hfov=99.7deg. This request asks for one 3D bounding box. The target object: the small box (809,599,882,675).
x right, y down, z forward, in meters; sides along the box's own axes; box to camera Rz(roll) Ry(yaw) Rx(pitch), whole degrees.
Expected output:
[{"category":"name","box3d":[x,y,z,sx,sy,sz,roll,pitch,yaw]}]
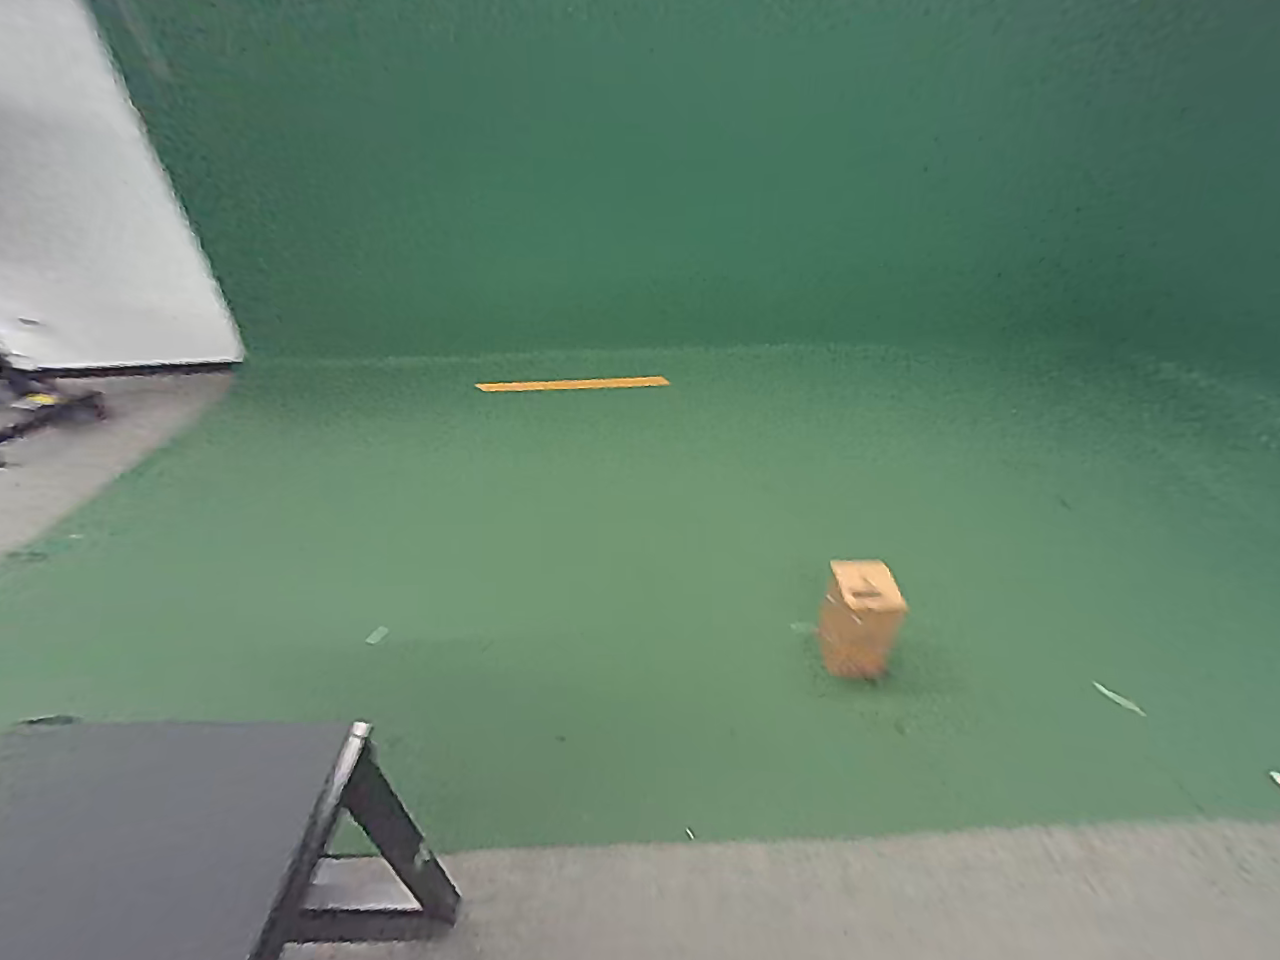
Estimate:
[{"category":"small box","box3d":[0.661,0.511,1.765,0.168,0.176,0.179,0,36,1]}]
